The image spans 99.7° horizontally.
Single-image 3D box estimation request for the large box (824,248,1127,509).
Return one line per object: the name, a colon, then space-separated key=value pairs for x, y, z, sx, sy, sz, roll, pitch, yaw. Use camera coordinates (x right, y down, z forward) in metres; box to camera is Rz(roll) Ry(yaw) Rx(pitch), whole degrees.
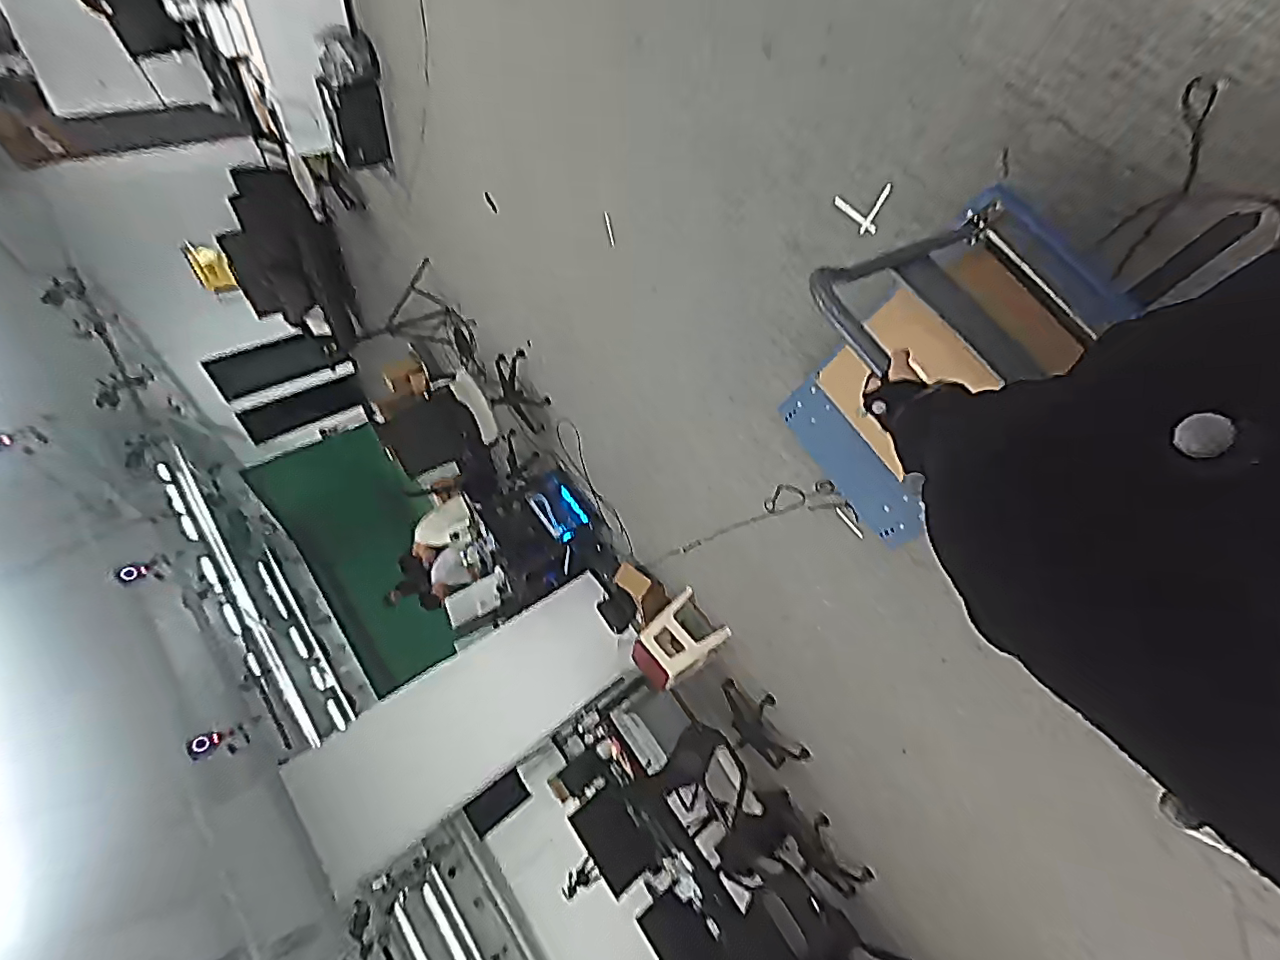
large box: x=0.701 y=-0.217 z=1.171 sx=0.408 sy=0.320 sz=0.320 roll=55 pitch=151 yaw=12
